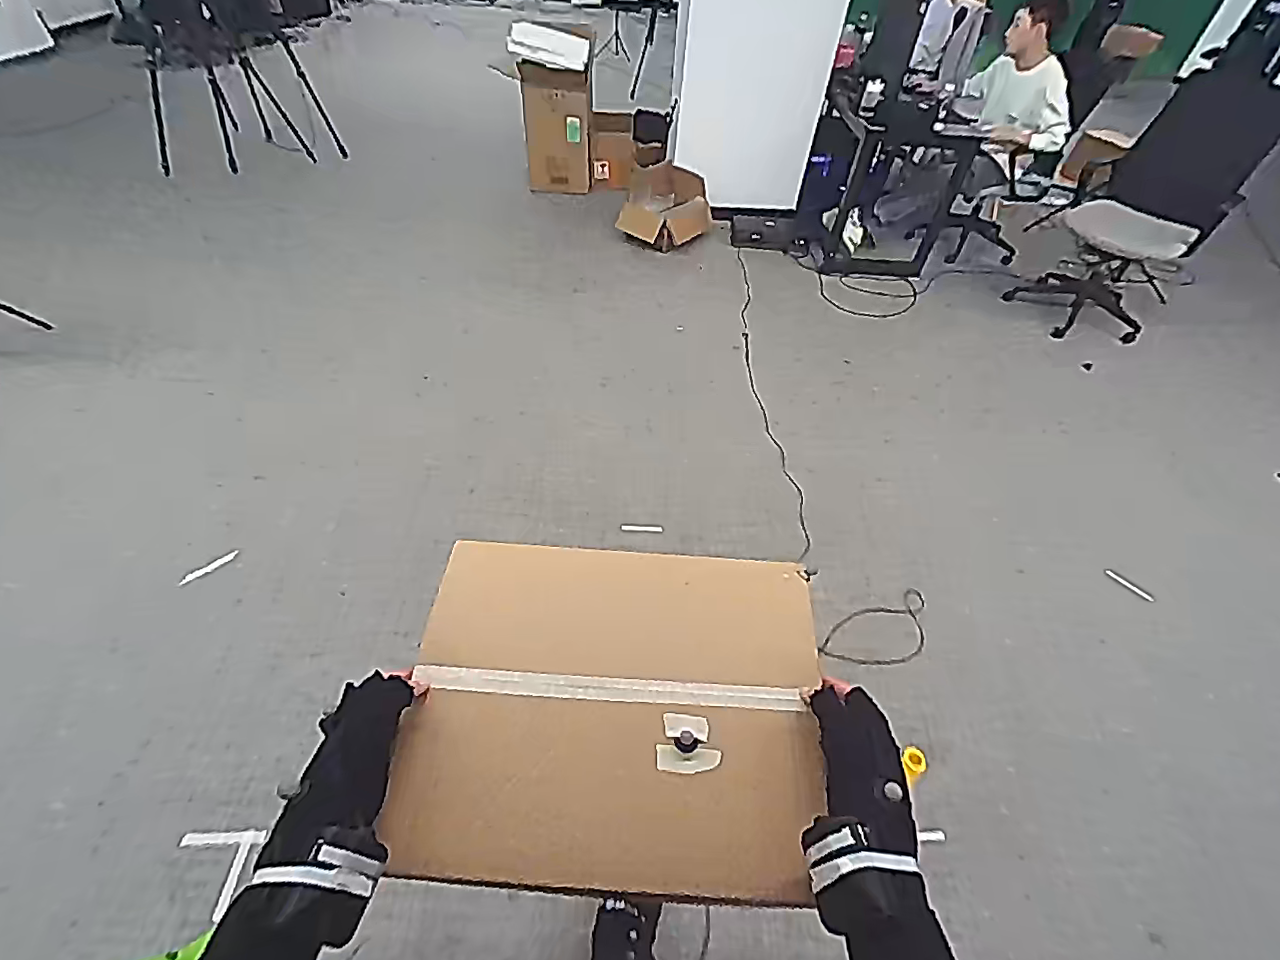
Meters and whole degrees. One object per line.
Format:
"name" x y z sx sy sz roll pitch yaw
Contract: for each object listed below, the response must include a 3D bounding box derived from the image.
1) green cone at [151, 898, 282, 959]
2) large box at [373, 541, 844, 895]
"green cone" -0.797 0.847 0.906 0.202 0.368 0.200 -29 55 -24
"large box" -0.027 0.295 0.655 0.408 0.320 0.320 4 52 0
